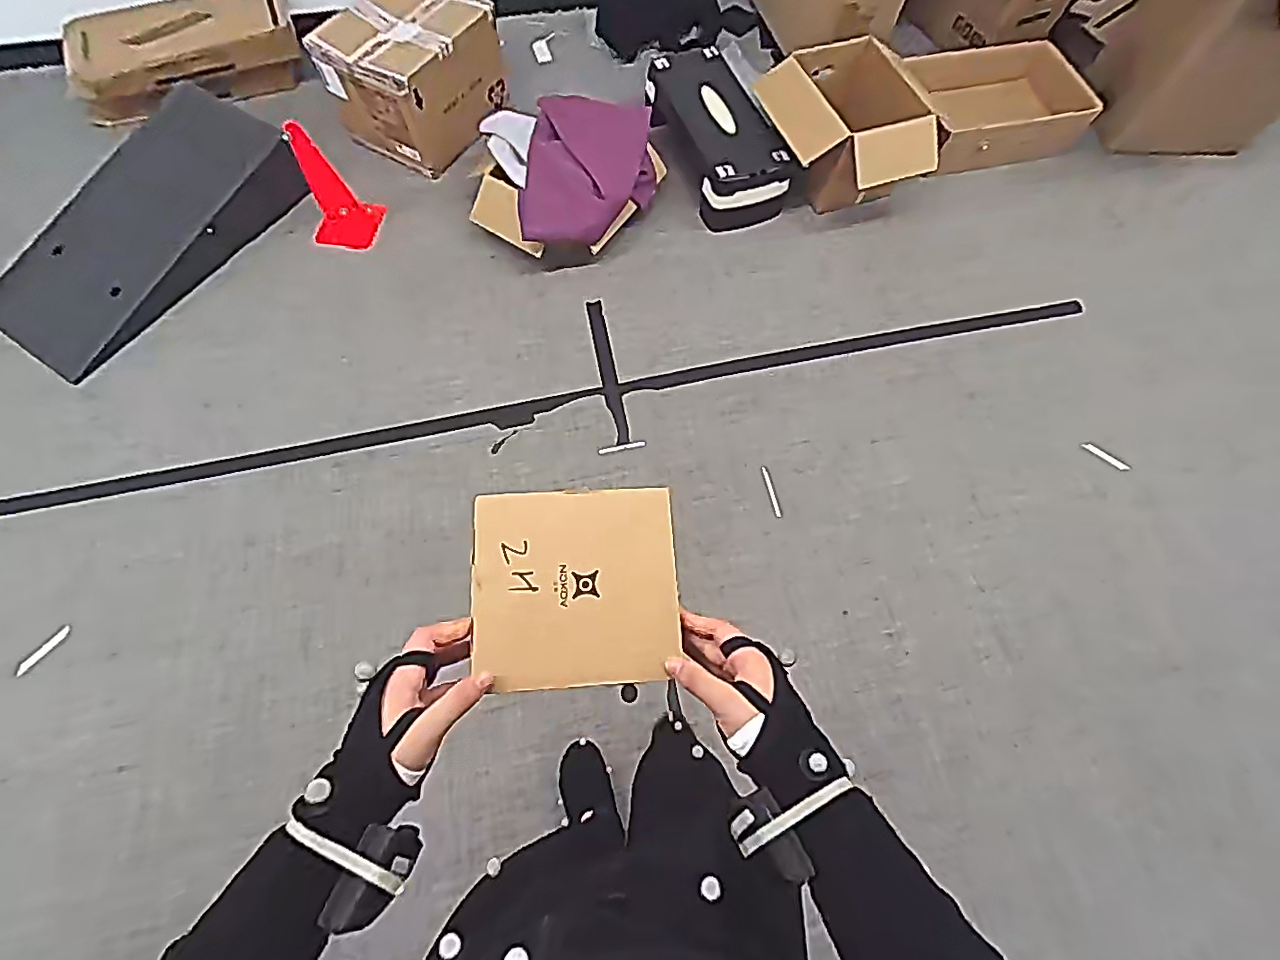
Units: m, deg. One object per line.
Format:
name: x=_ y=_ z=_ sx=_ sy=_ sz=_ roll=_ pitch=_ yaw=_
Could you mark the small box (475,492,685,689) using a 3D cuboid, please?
small box: x=-0.059 y=0.114 z=0.546 sx=0.179 sy=0.176 sz=0.168 roll=-2 pitch=72 yaw=-5
